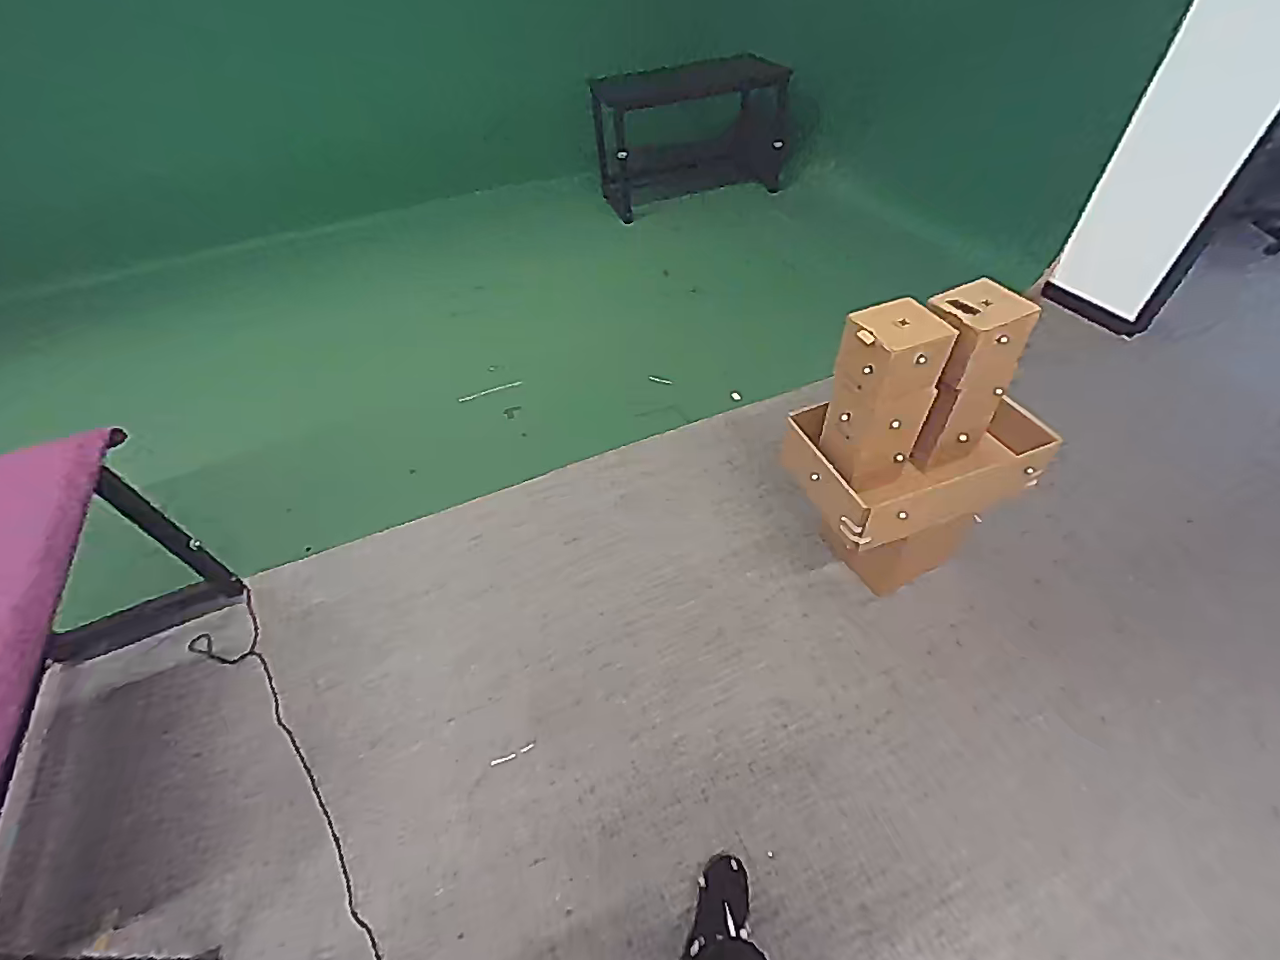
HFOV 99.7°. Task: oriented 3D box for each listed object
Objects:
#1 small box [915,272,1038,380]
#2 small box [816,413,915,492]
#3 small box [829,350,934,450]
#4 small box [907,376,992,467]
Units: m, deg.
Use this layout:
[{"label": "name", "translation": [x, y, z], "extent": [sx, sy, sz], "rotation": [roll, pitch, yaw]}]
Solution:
[{"label": "small box", "translation": [0.800, -0.369, 1.312], "extent": [0.179, 0.176, 0.168], "rotation": [-23, 50, -11]}, {"label": "small box", "translation": [0.623, -0.094, 1.517], "extent": [0.179, 0.176, 0.168], "rotation": [-17, 49, -10]}, {"label": "small box", "translation": [0.610, -0.203, 1.397], "extent": [0.179, 0.176, 0.168], "rotation": [-18, 50, -10]}, {"label": "small box", "translation": [0.860, -0.167, 1.565], "extent": [0.179, 0.176, 0.168], "rotation": [-21, 50, -9]}]
